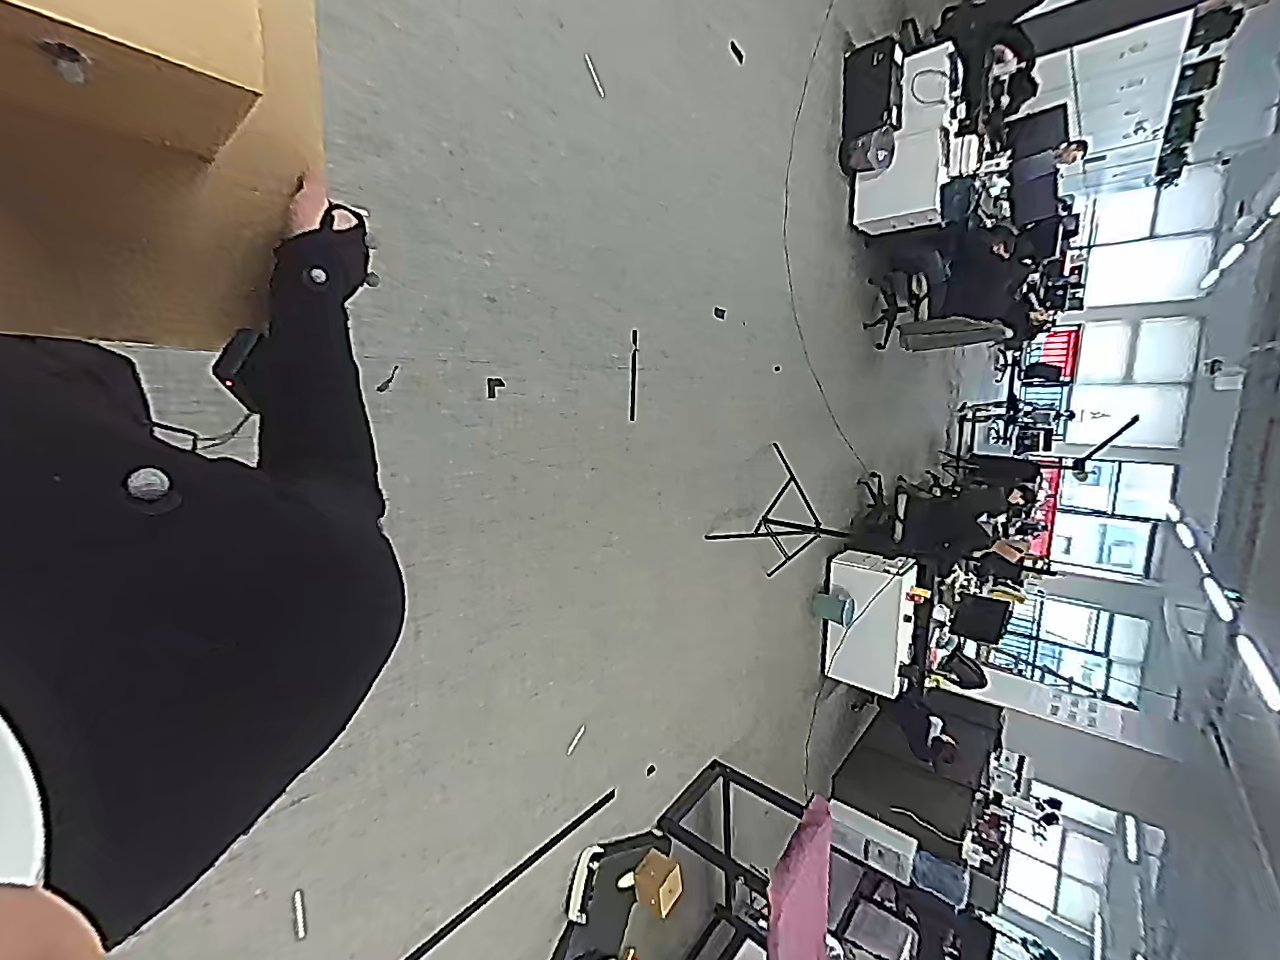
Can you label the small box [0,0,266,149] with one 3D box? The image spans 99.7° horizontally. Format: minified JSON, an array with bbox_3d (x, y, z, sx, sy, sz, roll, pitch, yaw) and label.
[{"bbox_3d":[-0.384,-0.354,0.369,0.179,0.176,0.168,-7,103,-46],"label":"small box"}]
